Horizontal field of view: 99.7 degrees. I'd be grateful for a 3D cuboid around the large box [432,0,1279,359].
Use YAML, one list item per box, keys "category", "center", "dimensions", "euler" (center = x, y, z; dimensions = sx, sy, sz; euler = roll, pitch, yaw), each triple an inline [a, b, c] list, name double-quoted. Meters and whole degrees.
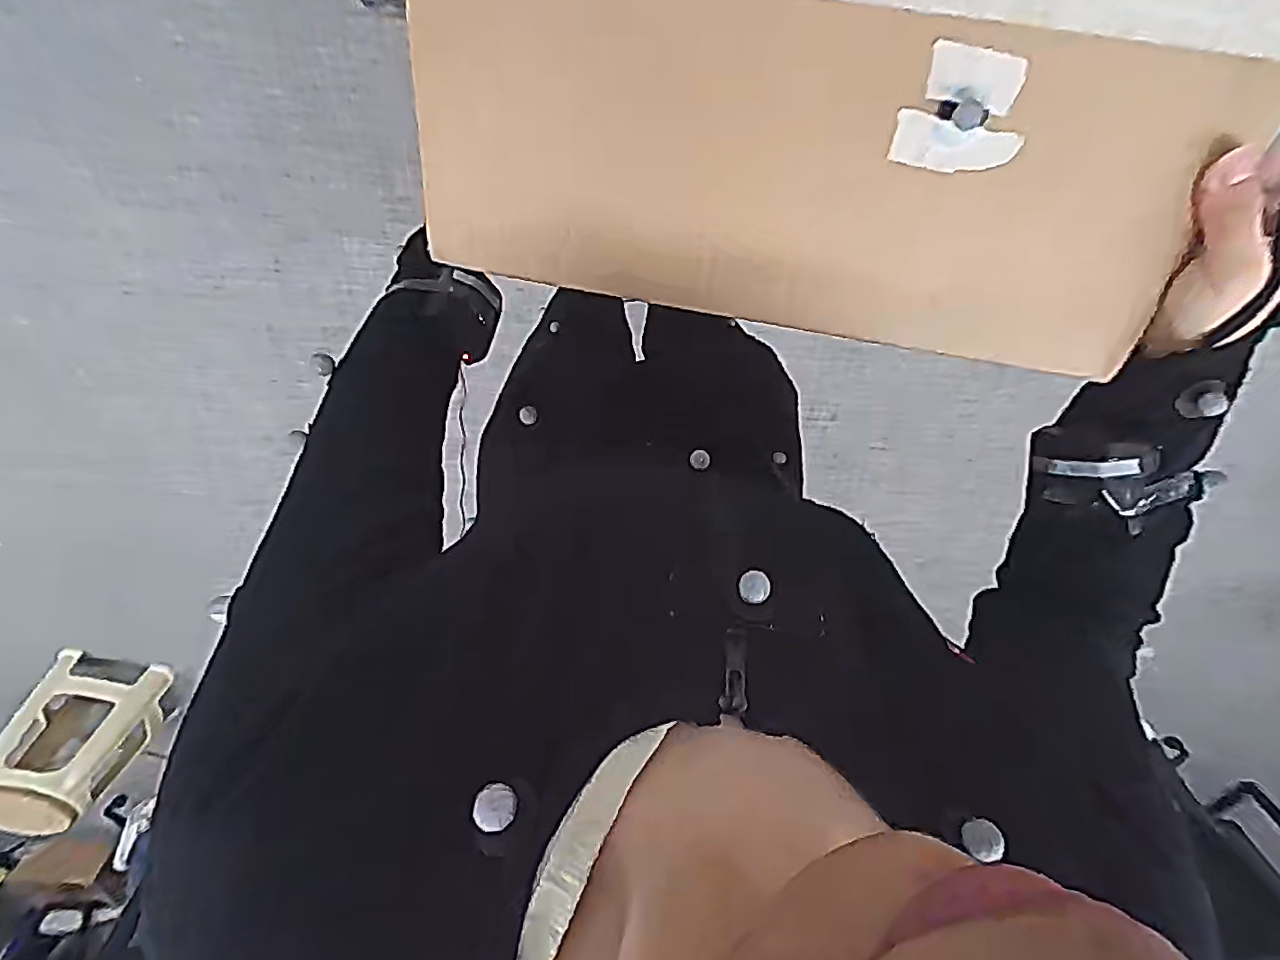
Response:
- category: "large box"
  center: [0.110, -0.310, 0.376]
  dimensions: [0.408, 0.320, 0.320]
  euler: [10, 124, 2]
